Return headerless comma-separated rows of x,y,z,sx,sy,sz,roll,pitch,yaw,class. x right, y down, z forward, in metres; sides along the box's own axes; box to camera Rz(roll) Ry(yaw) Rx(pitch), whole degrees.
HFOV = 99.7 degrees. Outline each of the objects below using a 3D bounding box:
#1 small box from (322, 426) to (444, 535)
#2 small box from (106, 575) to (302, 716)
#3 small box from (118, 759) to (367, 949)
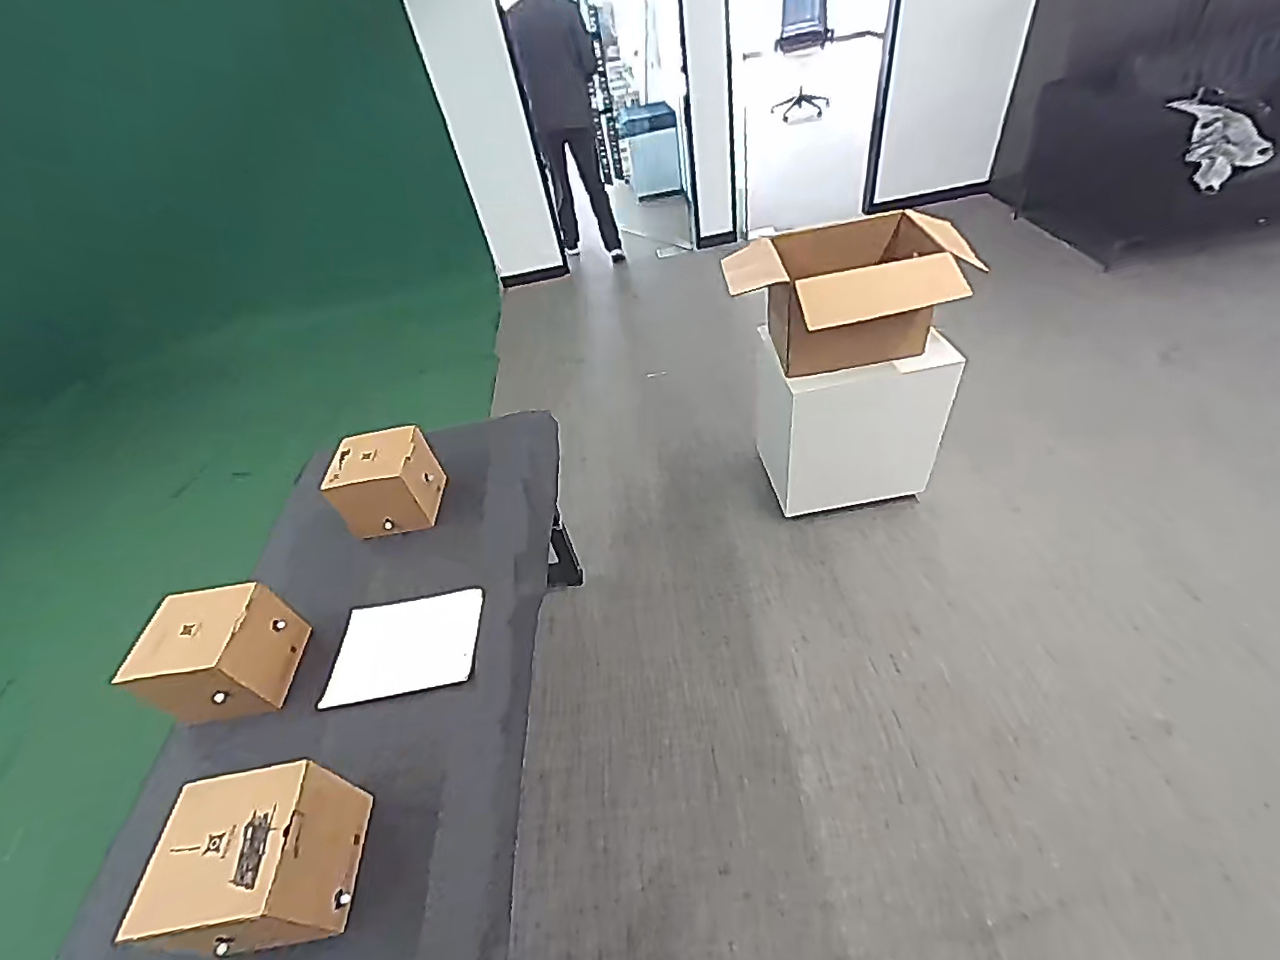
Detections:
-0.565,0.003,1.218,0.179,0.176,0.168,-8,44,2,small box
-0.739,0.292,0.946,0.179,0.176,0.168,-10,43,2,small box
-0.496,0.494,0.713,0.179,0.176,0.168,-11,44,1,small box
